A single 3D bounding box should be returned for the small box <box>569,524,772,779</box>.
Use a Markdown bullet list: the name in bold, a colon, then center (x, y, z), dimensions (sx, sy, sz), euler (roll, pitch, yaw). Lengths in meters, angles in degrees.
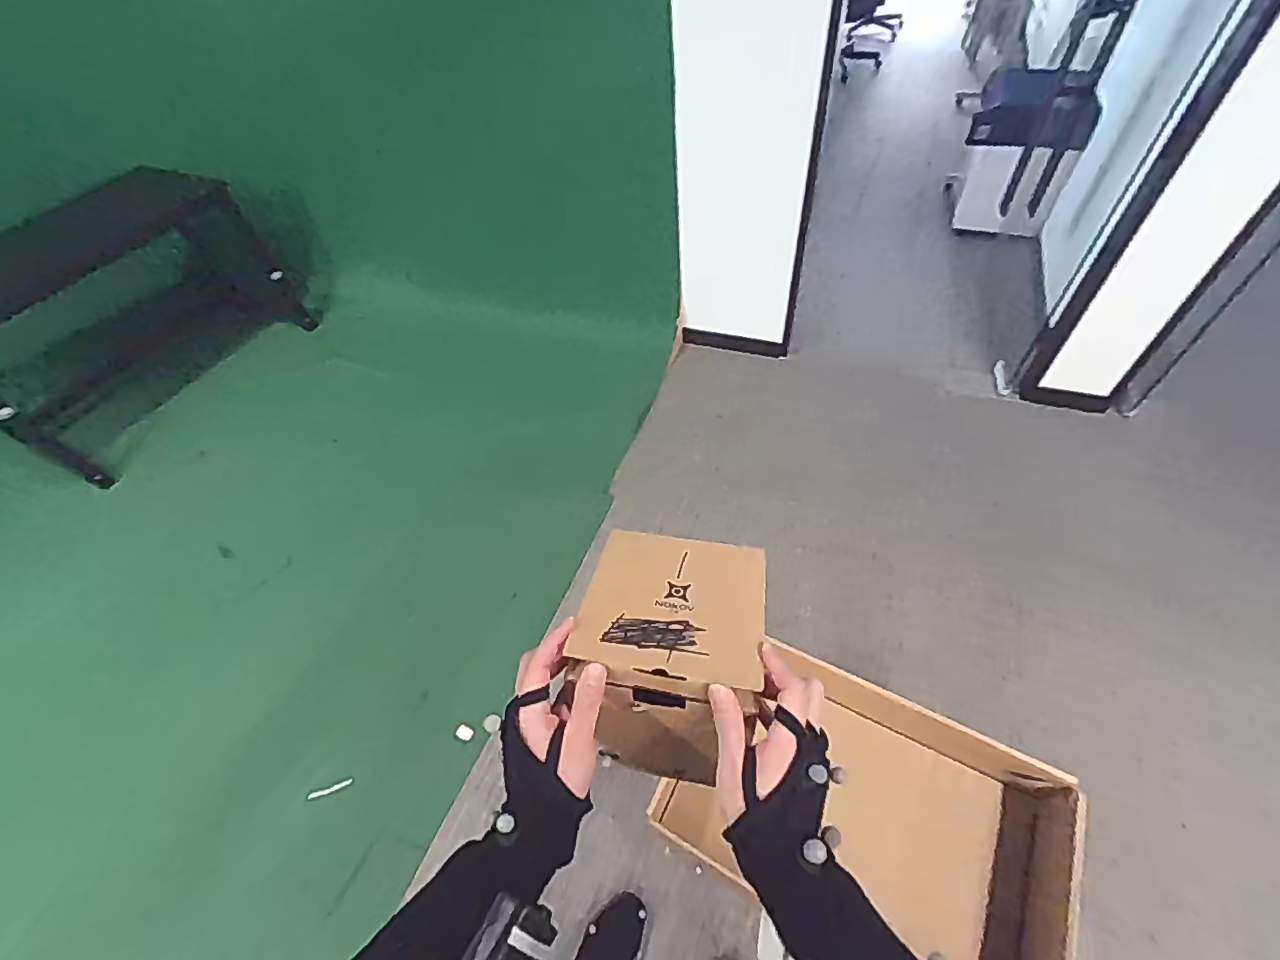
- **small box**: center (0.038, 0.171, 0.548), dimensions (0.168, 0.176, 0.179), euler (7, 41, 9)
